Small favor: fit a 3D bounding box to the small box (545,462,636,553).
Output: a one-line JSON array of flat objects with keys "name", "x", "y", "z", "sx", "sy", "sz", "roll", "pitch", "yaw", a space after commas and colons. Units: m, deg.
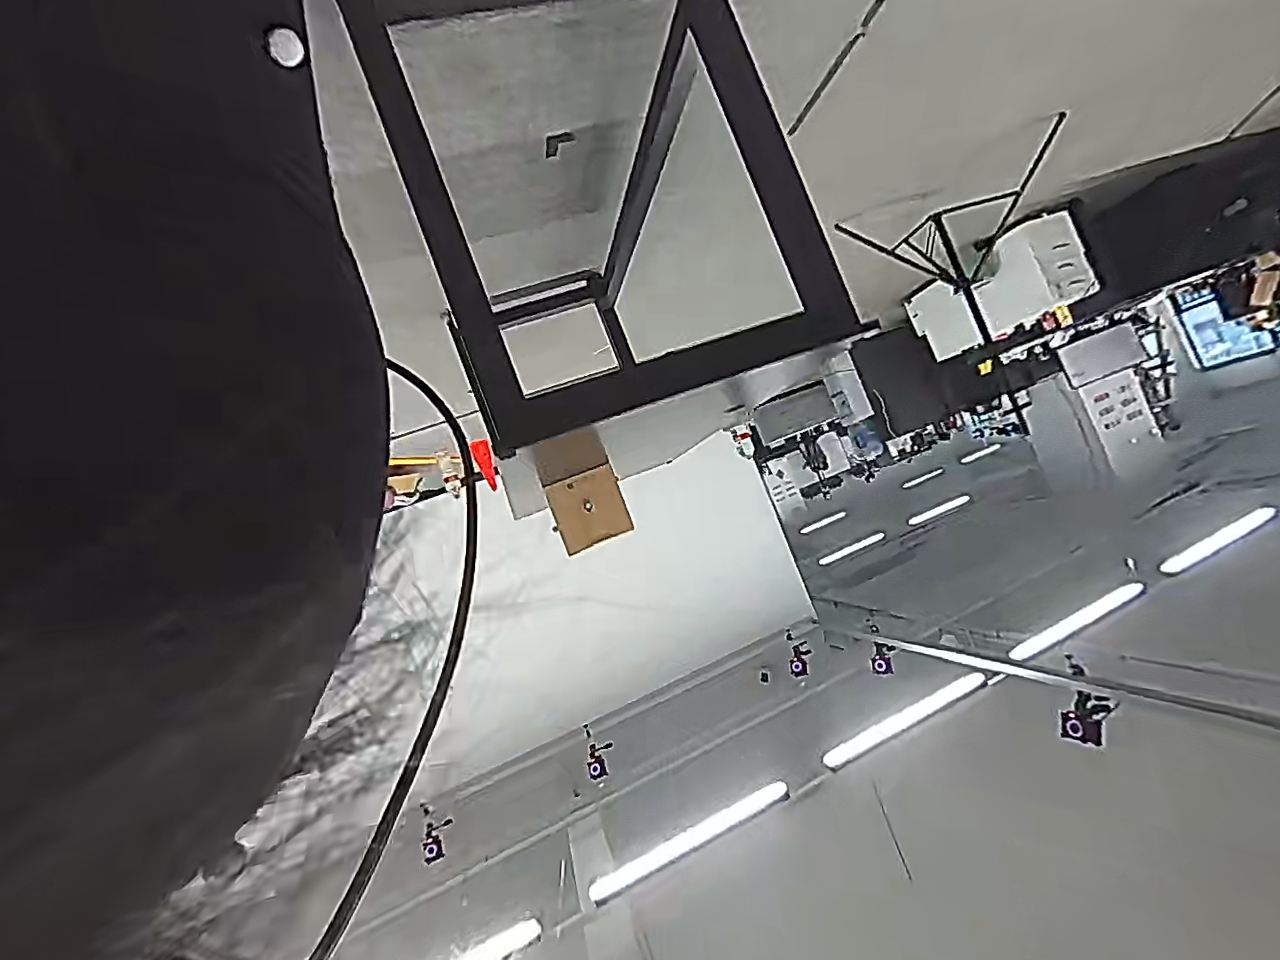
[{"name": "small box", "x": -0.125, "y": 0.067, "z": 1.311, "sx": 0.168, "sy": 0.176, "sz": 0.179, "roll": -22, "pitch": 176, "yaw": -10}]
